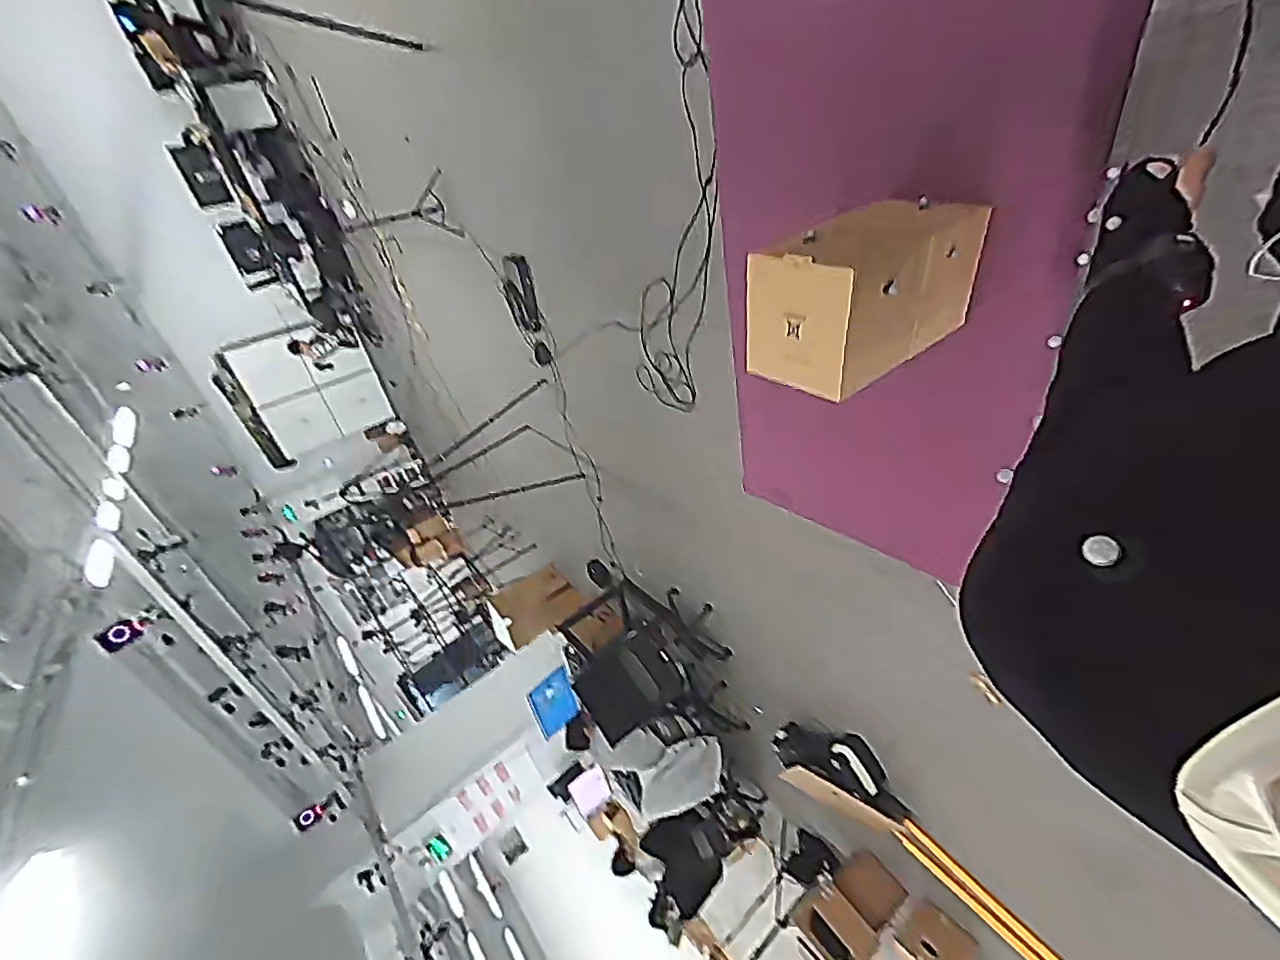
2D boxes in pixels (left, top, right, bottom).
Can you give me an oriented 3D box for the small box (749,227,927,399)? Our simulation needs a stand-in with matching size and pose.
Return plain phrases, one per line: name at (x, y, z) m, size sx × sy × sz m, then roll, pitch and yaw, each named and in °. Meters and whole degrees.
small box at (0.273, -0.243, 0.760) m, size 0.168 × 0.176 × 0.179 m, roll 33°, pitch 142°, yaw 42°
